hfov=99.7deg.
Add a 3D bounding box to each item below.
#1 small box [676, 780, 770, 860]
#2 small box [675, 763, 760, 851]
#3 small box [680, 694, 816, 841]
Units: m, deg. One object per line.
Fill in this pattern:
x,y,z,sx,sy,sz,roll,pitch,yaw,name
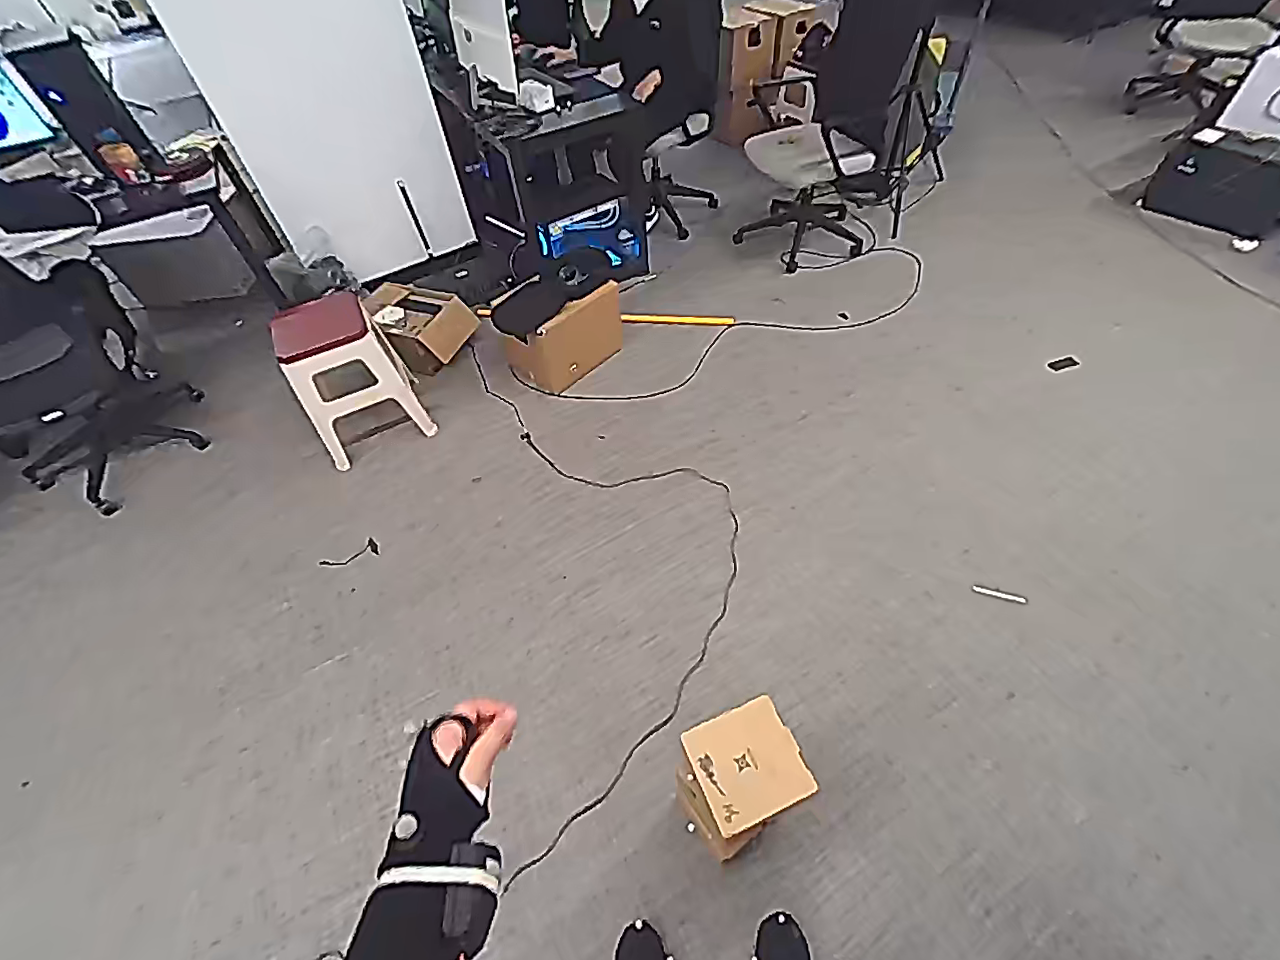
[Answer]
0.195,0.719,1.219,0.179,0.176,0.168,-30,55,-17,small box
0.188,0.615,1.095,0.179,0.176,0.168,-31,57,-21,small box
0.180,0.515,0.965,0.179,0.176,0.168,-20,53,-12,small box
